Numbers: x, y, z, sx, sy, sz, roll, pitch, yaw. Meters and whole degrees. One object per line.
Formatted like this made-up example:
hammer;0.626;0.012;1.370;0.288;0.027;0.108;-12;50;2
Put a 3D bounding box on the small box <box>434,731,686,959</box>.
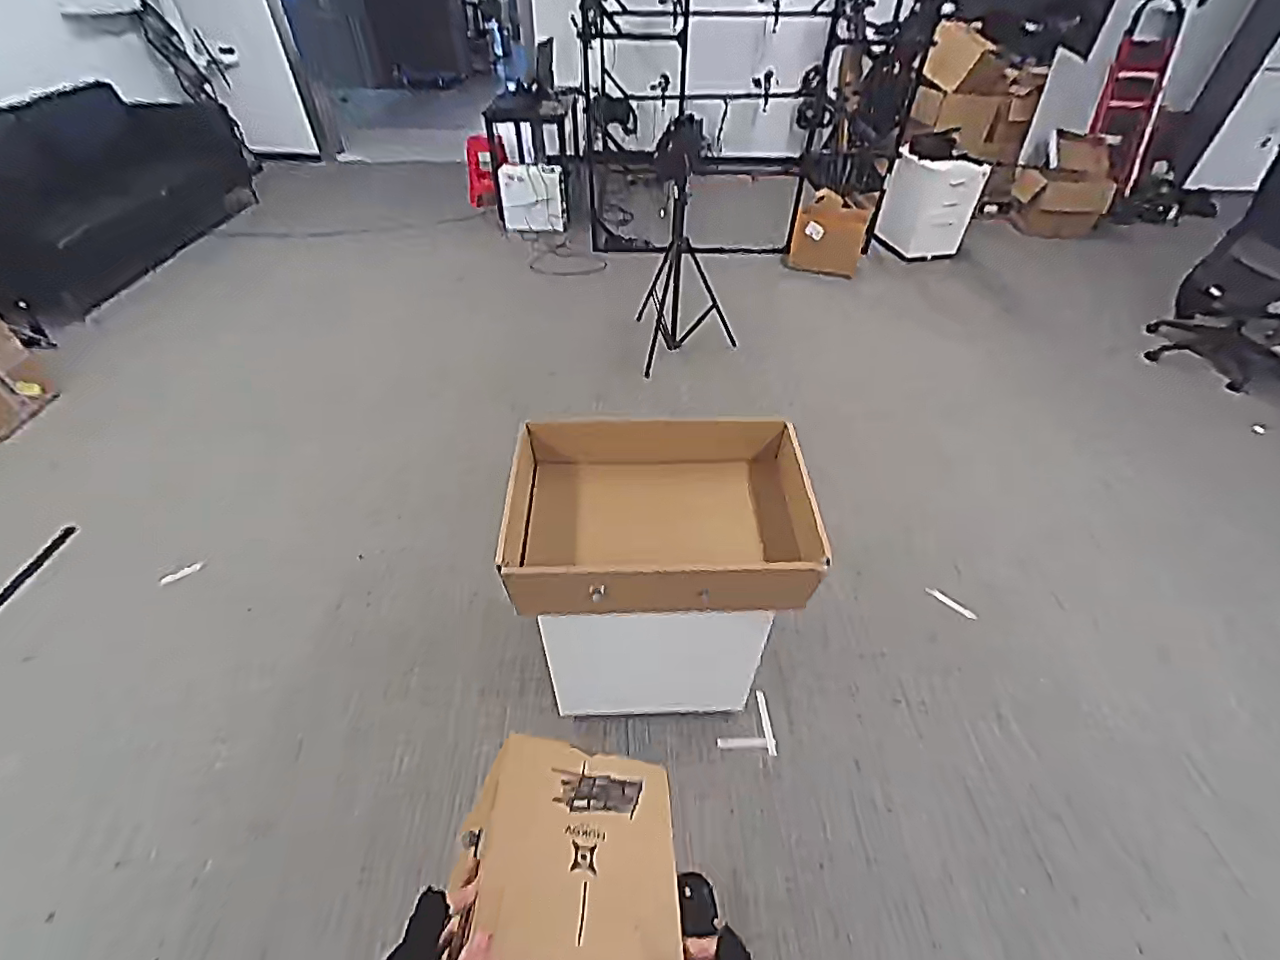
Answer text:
small box;-0.075;0.368;0.482;0.168;0.176;0.179;20;25;-13
